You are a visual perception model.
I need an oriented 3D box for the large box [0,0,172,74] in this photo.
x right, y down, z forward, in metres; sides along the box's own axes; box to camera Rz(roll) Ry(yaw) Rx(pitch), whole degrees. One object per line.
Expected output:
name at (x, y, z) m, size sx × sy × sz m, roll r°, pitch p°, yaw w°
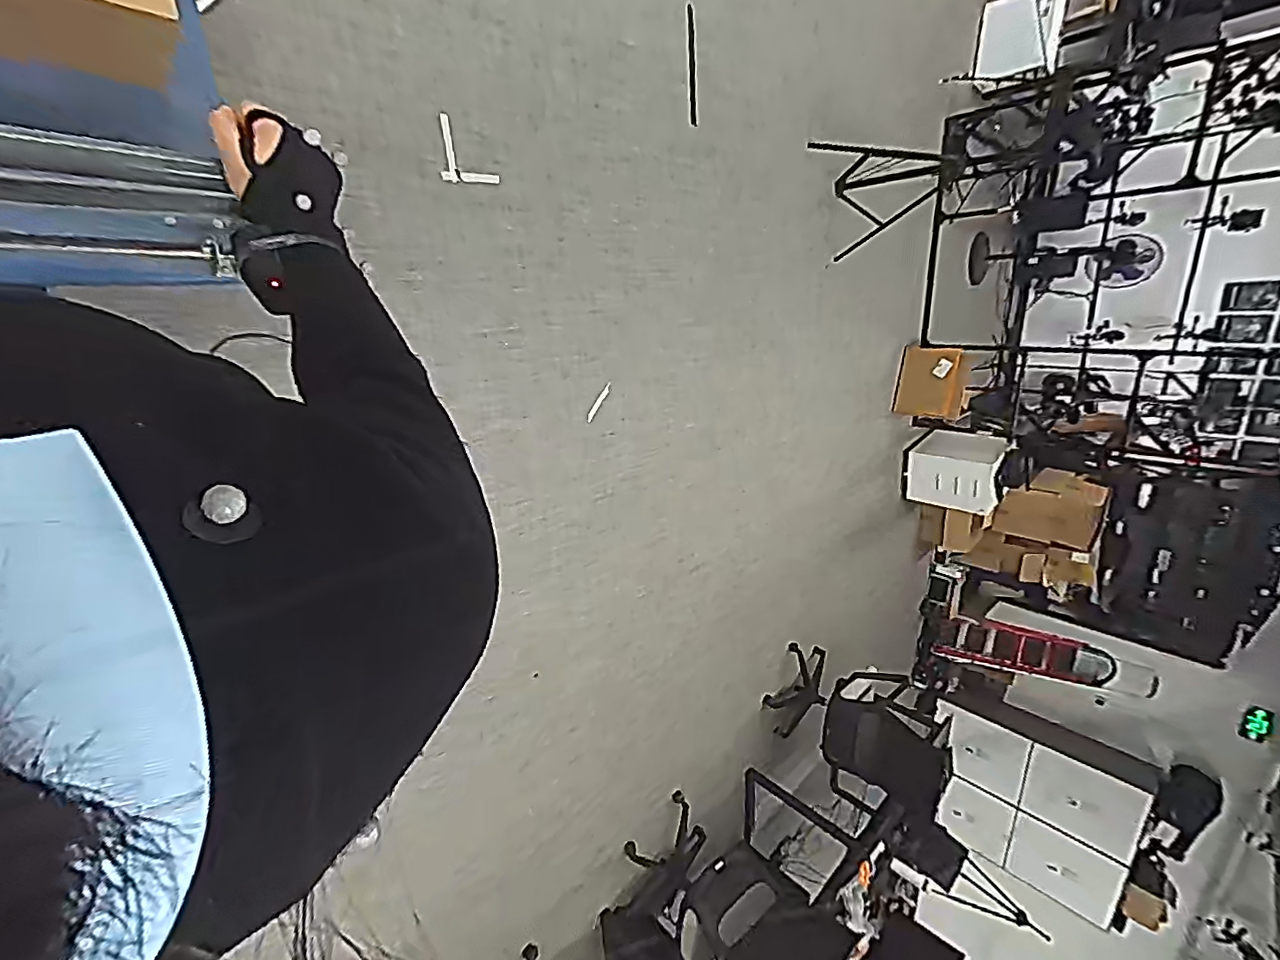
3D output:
large box at (-0.871, -0.761, 0.652) m, size 0.408 × 0.320 × 0.320 m, roll -16°, pitch 112°, yaw -41°
